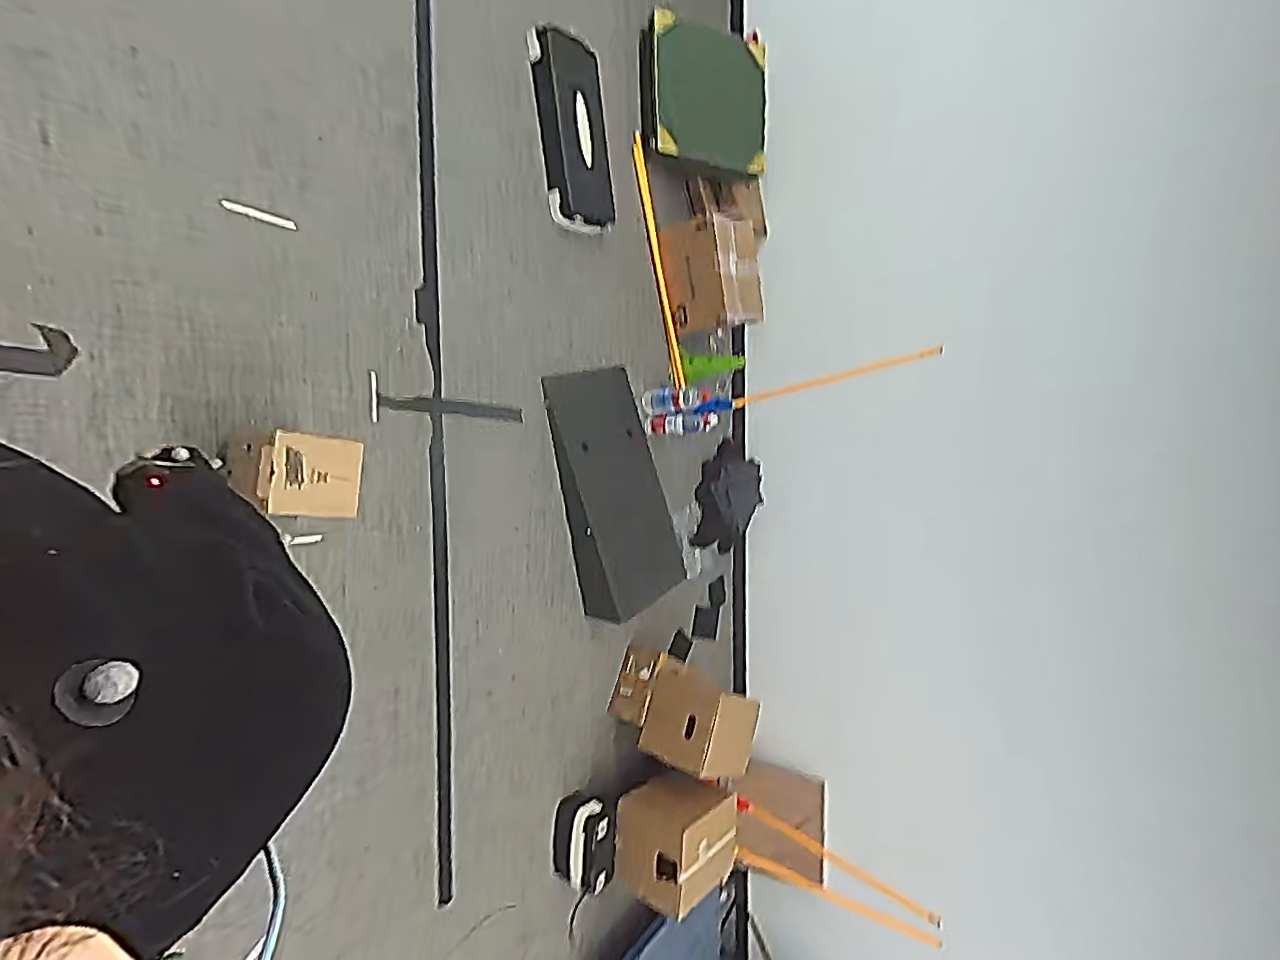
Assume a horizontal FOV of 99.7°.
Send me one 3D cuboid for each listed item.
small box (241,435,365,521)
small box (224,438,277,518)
[{"bbox_3d":[-0.729,0.001,1.167,0.179,0.176,0.168,9,84,-52],"label":"small box"},{"bbox_3d":[-0.855,-0.006,1.273,0.168,0.176,0.179,2,90,-52],"label":"small box"}]
